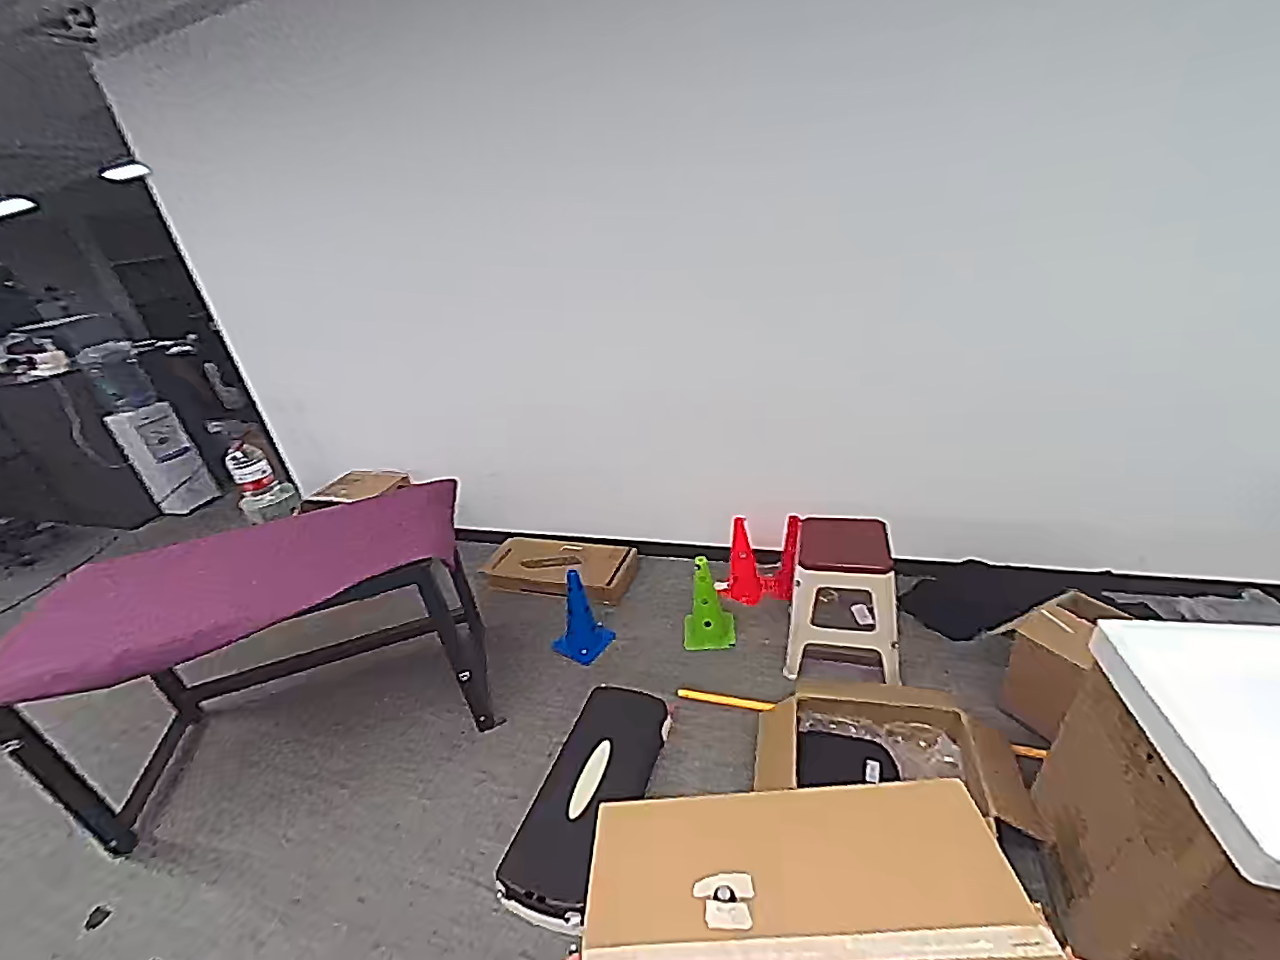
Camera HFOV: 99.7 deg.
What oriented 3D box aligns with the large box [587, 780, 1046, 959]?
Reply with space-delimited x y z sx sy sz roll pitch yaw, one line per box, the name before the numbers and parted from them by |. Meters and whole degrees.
large box | 0.172 0.559 0.536 0.408 0.320 0.320 -9 22 5
